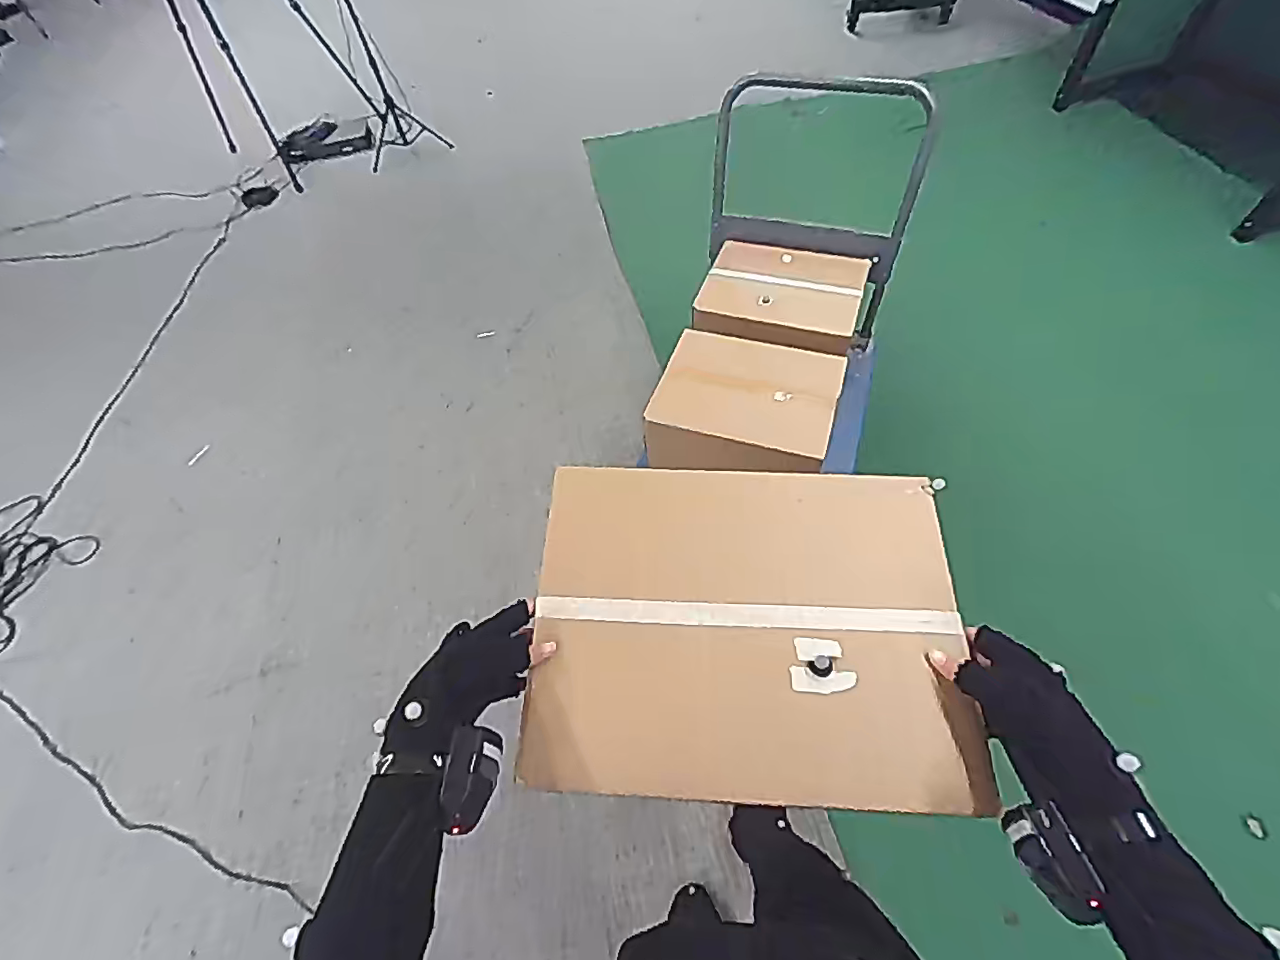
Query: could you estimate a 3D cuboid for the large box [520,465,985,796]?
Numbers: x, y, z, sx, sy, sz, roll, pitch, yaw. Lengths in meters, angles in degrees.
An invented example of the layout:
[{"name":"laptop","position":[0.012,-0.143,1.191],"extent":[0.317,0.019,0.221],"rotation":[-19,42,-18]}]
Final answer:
[{"name":"large box","position":[0.100,0.194,0.658],"extent":[0.408,0.320,0.320],"rotation":[2,62,2]}]
